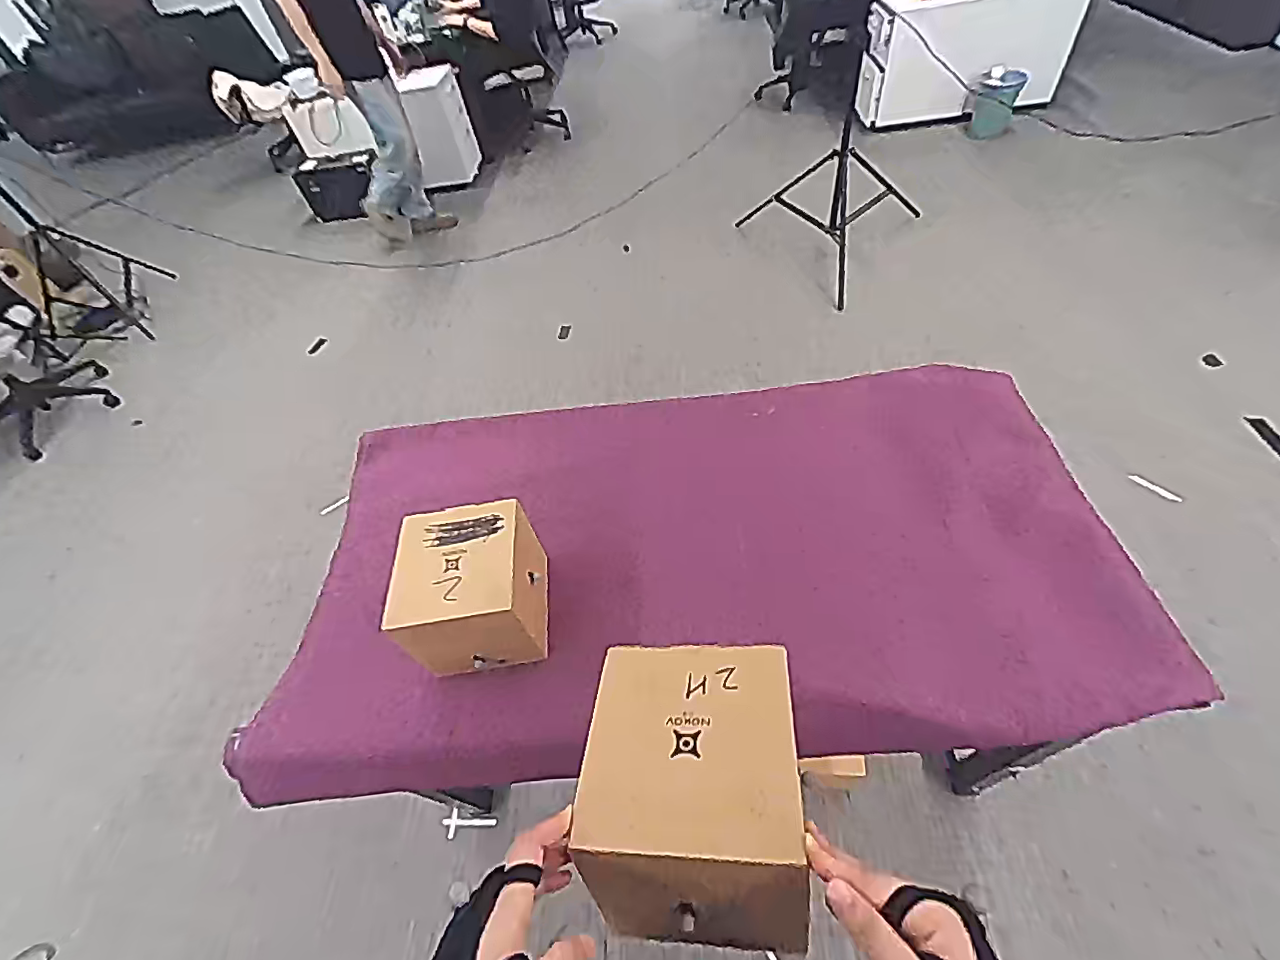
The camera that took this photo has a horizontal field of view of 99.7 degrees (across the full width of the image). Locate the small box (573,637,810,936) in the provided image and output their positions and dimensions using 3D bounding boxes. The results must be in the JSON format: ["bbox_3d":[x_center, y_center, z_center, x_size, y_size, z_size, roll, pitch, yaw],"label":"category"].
[{"bbox_3d":[0.055,0.261,0.472,0.168,0.176,0.179,-3,34,11],"label":"small box"}]

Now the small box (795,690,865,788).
[{"bbox_3d":[0.410,0.603,1.255,0.168,0.176,0.179,-2,51,9],"label":"small box"}]
